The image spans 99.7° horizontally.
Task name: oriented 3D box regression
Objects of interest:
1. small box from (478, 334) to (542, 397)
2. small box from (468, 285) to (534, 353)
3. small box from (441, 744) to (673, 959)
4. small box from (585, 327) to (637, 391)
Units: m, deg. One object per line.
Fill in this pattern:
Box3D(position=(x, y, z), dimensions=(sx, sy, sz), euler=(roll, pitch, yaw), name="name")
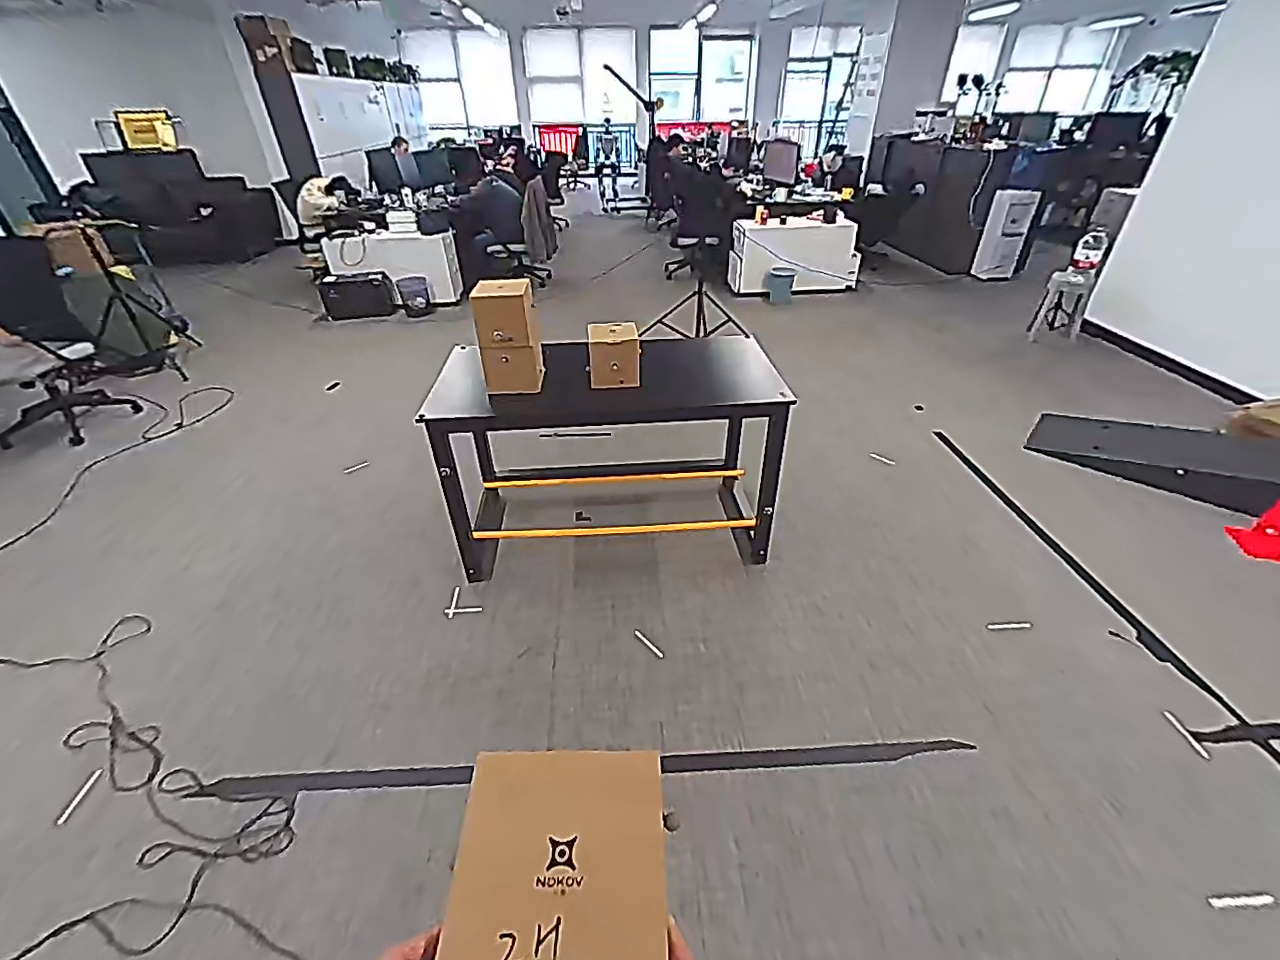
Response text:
Box3D(position=(-0.436, -0.389, 1.842), dimensions=(0.179, 0.176, 0.168), euler=(-2, 35, -2), name="small box")
Box3D(position=(-0.441, -0.521, 1.748), dimensions=(0.168, 0.176, 0.179), euler=(-4, 36, -2), name="small box")
Box3D(position=(-0.060, 0.359, 0.478), dimensions=(0.168, 0.176, 0.179), euler=(-1, 40, -1), name="small box")
Box3D(position=(-0.101, -0.416, 1.874), dimensions=(0.168, 0.176, 0.179), euler=(-4, 35, -4), name="small box")
